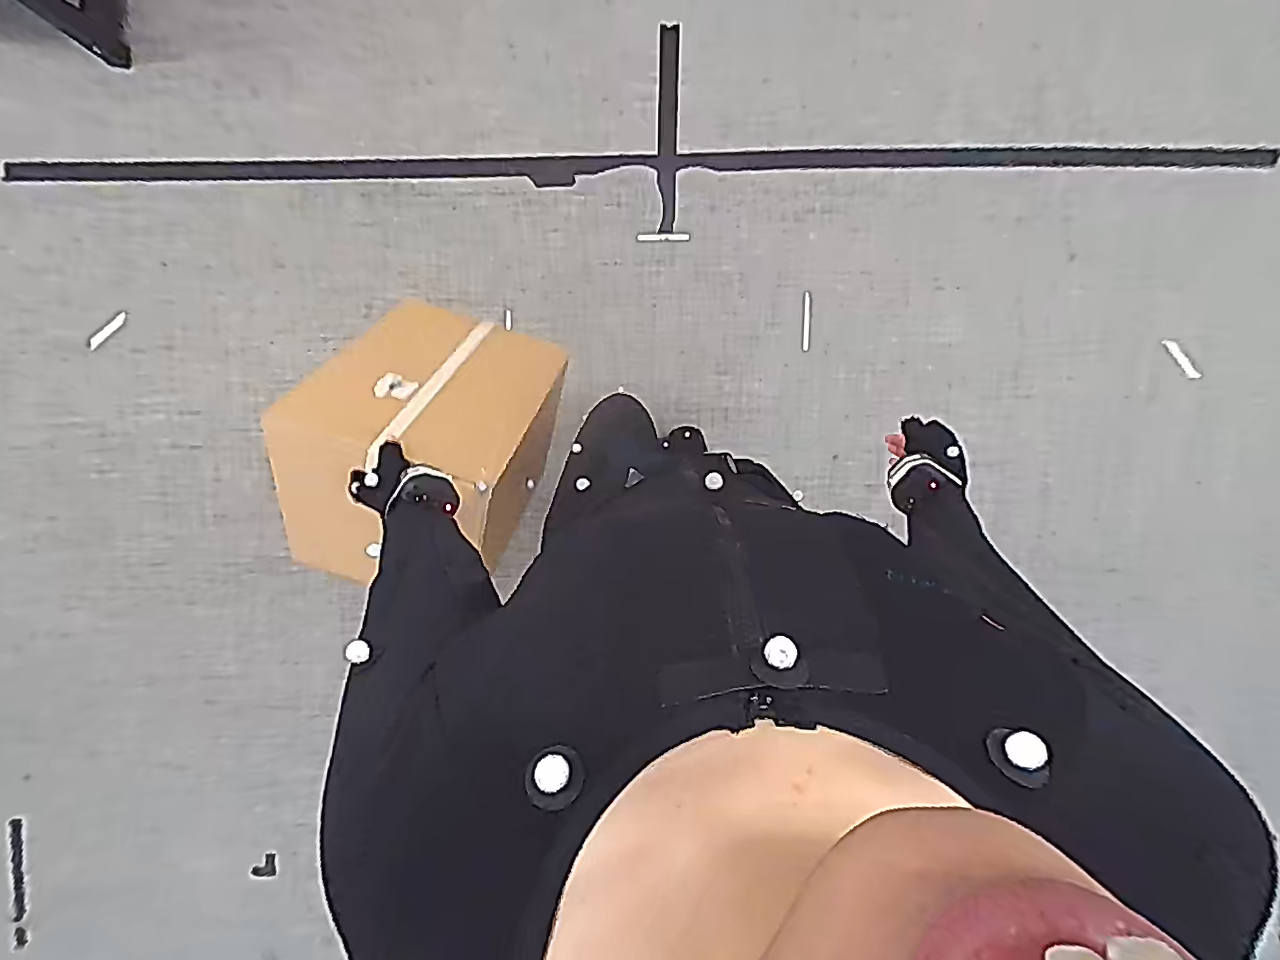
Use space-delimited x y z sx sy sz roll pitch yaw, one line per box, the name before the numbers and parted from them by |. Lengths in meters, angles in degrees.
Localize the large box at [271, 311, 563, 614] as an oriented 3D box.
large box | -0.360 -0.042 0.974 0.320 0.408 0.320 18 131 -1
